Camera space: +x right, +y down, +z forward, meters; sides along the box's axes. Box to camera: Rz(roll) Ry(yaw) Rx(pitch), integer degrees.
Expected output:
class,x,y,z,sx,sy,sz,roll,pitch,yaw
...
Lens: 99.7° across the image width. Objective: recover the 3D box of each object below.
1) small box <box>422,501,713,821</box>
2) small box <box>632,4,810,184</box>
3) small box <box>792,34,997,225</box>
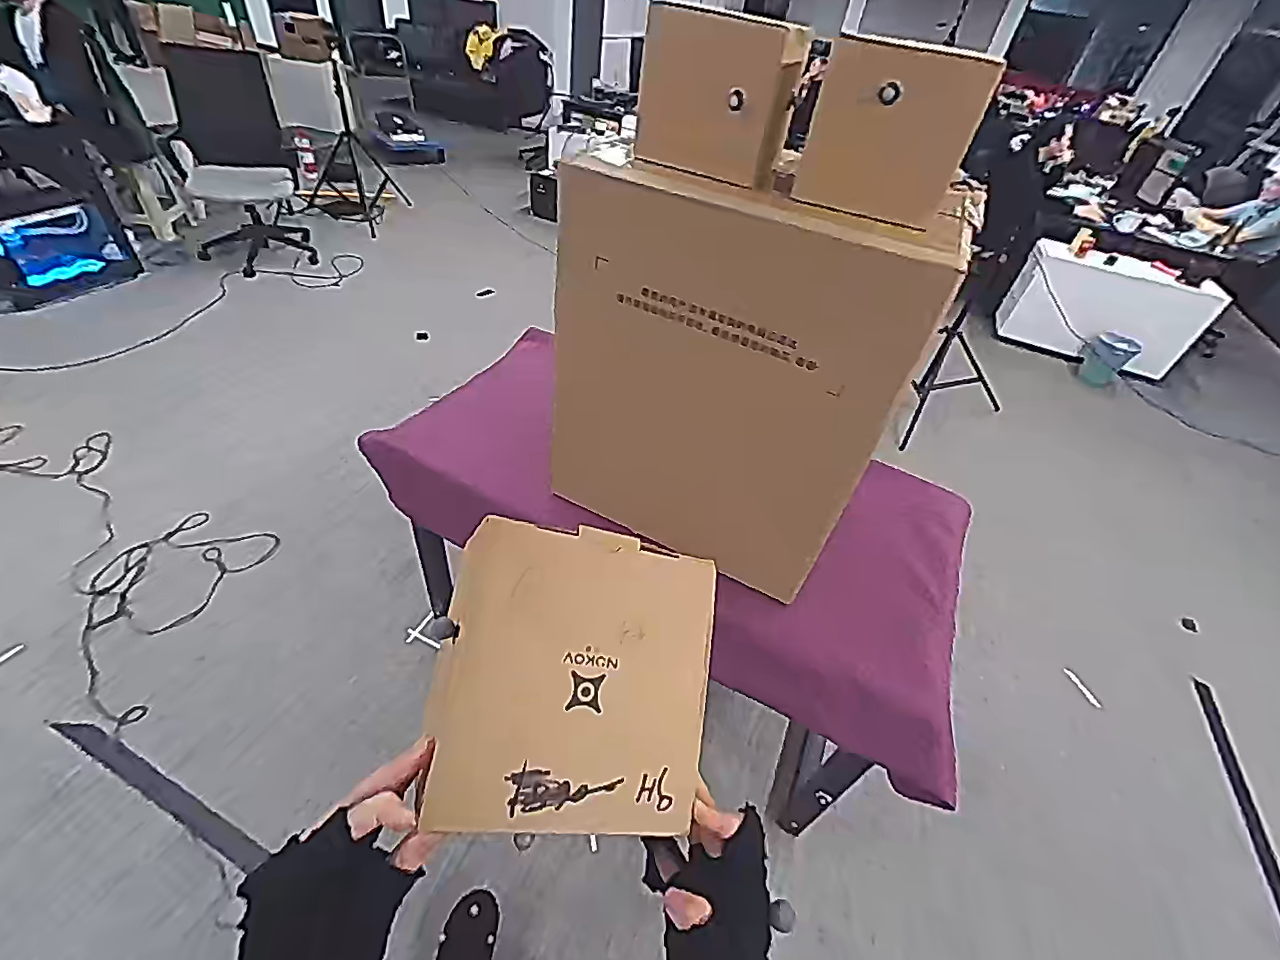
class,x,y,z,sx,sy,sz,roll,pitch,yaw
small box,-0.062,0.132,0.410,0.168,0.176,0.179,14,72,-18
small box,0.105,-0.515,0.730,0.179,0.176,0.168,21,42,12
small box,0.308,-0.437,0.679,0.179,0.176,0.168,21,43,13
